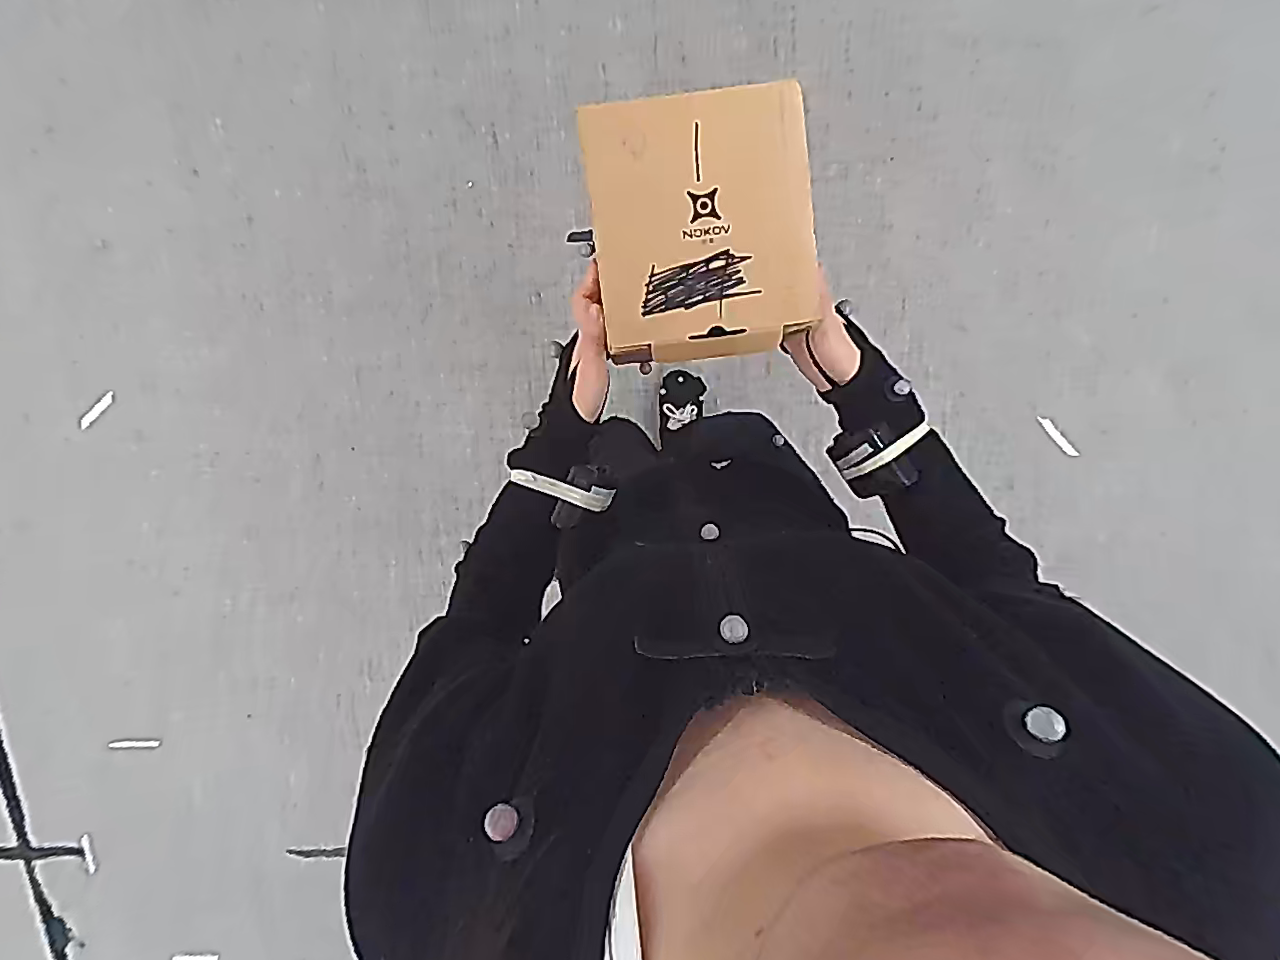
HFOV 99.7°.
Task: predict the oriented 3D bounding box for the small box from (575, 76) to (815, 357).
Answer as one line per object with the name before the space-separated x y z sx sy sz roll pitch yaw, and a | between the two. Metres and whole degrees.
small box | 0.042 -0.208 0.481 0.168 0.176 0.179 -8 97 0
